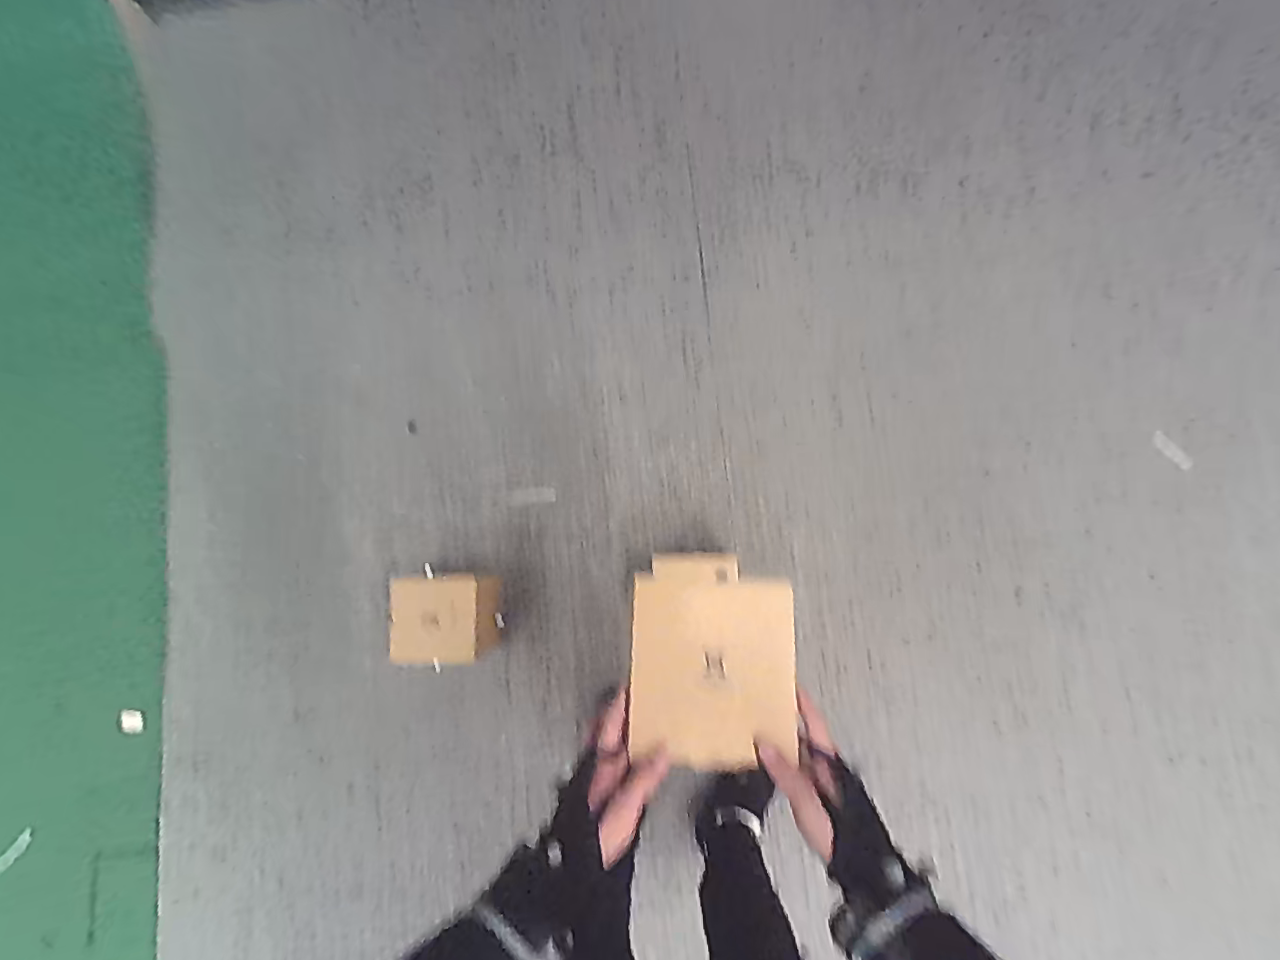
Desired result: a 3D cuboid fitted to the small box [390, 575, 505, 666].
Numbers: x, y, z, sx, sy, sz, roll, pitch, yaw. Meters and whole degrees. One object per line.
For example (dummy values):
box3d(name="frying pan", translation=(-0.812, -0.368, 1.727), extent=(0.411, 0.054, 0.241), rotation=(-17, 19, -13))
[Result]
box3d(name="small box", translation=(-0.398, 0.290, 1.140), extent=(0.179, 0.176, 0.168), rotation=(0, 83, 3))

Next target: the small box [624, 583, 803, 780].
box3d(name="small box", translation=(0.070, 0.211, 0.599), extent=(0.168, 0.176, 0.179), rotation=(3, 76, -2))

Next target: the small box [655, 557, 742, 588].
box3d(name="small box", translation=(0.111, 0.253, 1.111), extent=(0.168, 0.176, 0.179), rotation=(6, 84, 6))
